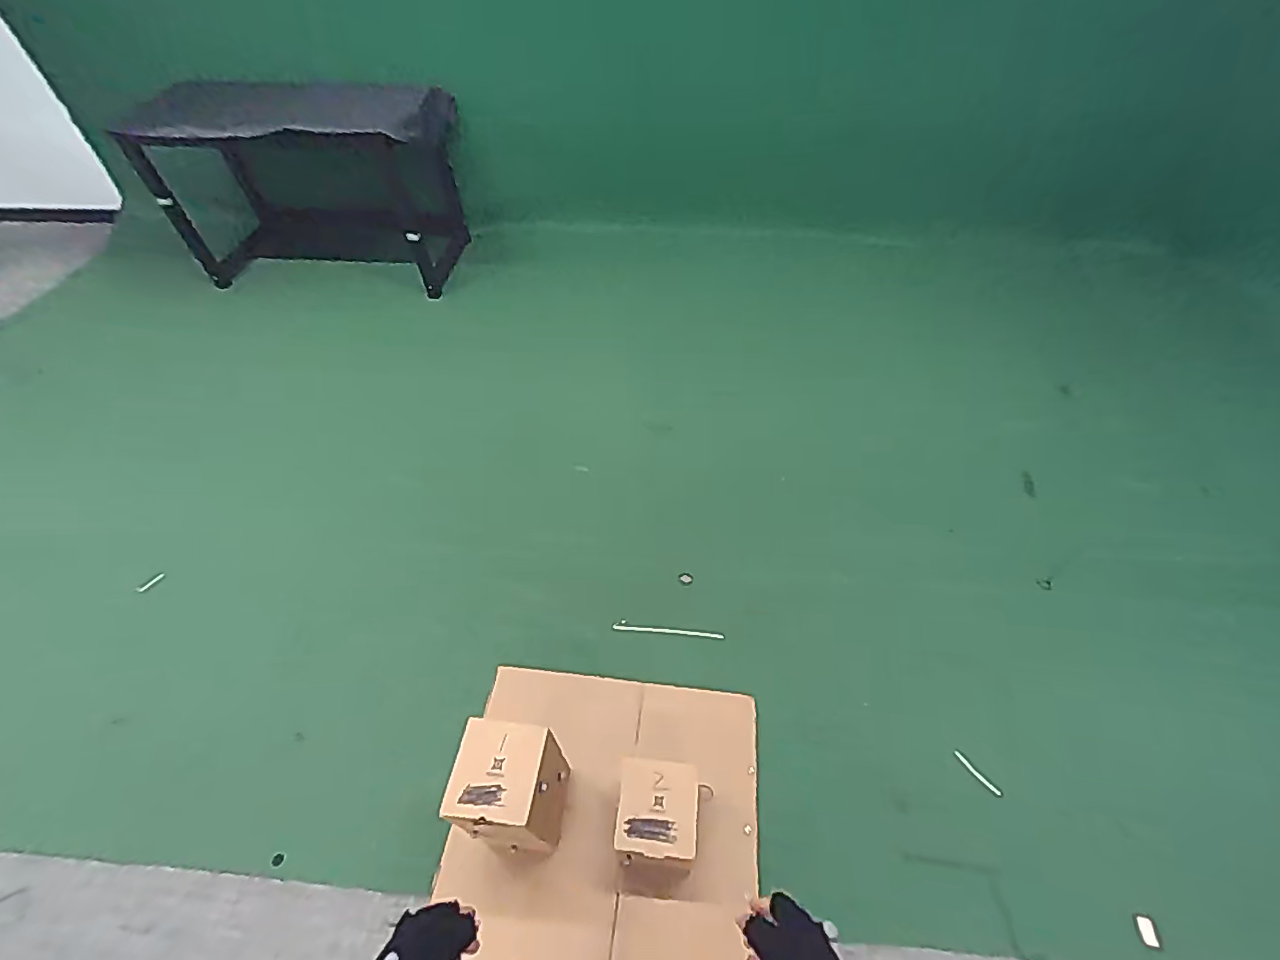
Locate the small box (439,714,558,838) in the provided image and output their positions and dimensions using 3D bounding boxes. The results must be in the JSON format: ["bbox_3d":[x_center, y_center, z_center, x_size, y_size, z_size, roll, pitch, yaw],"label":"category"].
[{"bbox_3d":[-0.269,0.594,1.079,0.168,0.176,0.179,5,49,6],"label":"small box"}]

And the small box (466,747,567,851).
[{"bbox_3d":[-0.263,0.702,1.203,0.168,0.176,0.179,3,50,6],"label":"small box"}]
